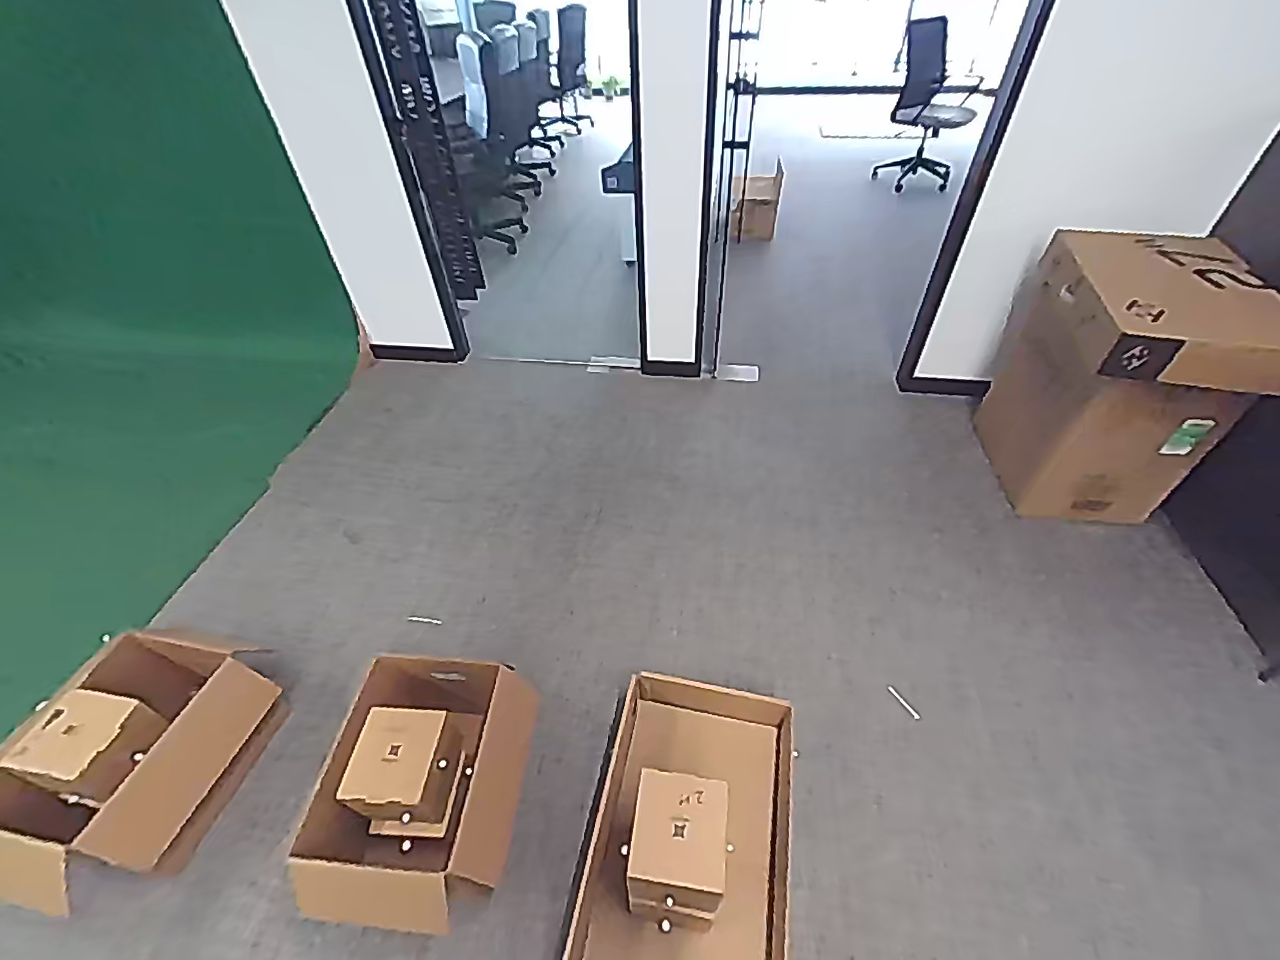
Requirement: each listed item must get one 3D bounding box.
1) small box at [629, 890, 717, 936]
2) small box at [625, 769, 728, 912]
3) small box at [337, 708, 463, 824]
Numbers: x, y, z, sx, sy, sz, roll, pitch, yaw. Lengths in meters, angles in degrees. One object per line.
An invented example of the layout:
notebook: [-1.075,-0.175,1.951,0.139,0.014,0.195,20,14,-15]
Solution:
small box: [0.075,0.797,1.109,0.168,0.176,0.179,7,44,9]
small box: [0.070,0.671,1.003,0.168,0.176,0.179,6,43,6]
small box: [-0.489,0.603,1.135,0.168,0.176,0.179,2,46,3]
